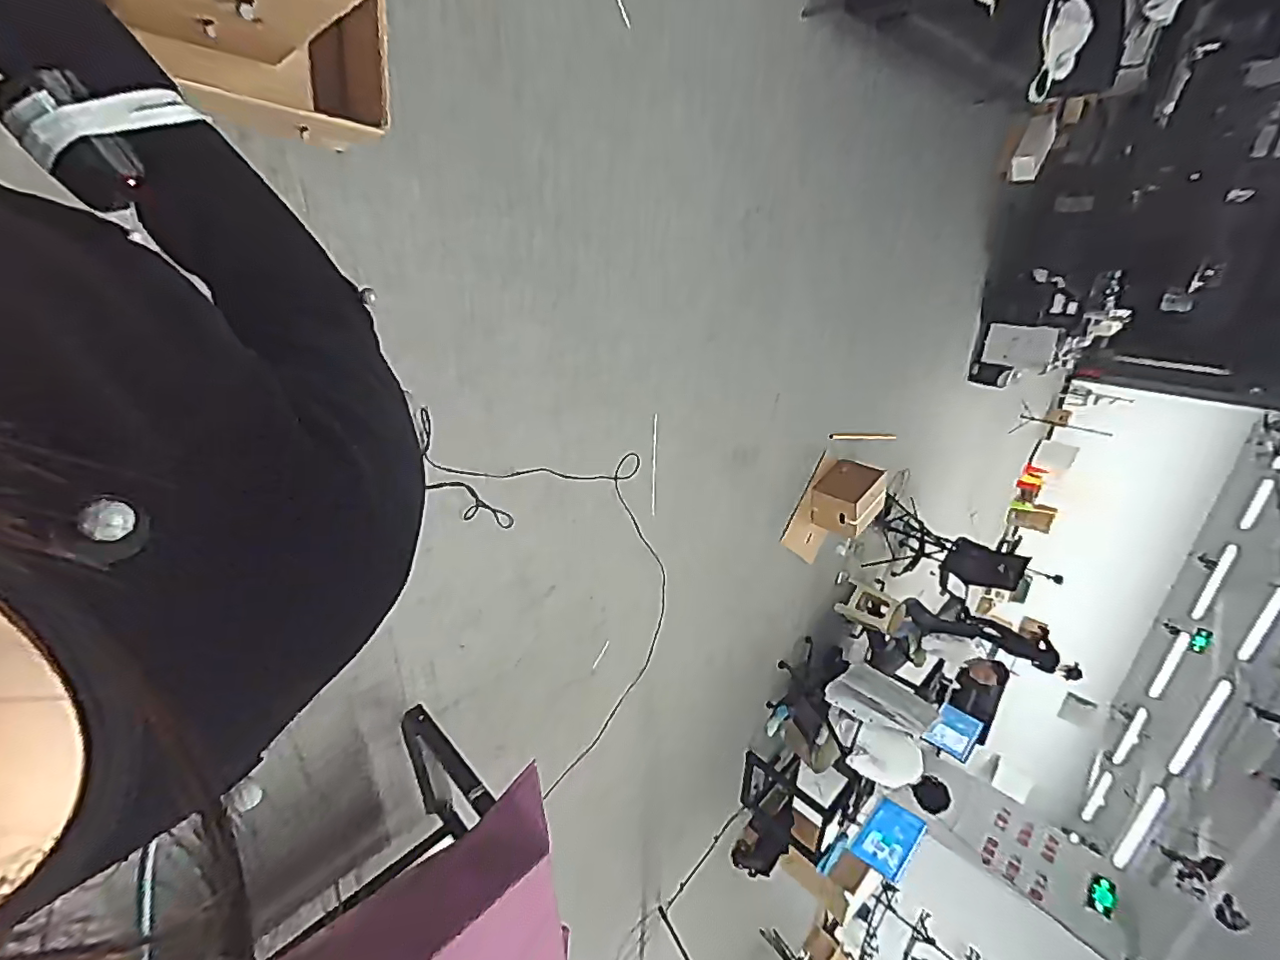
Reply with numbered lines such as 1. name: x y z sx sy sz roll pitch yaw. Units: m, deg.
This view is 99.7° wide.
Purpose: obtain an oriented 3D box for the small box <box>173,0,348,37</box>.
1. small box: -0.408 -0.571 0.525 0.168 0.176 0.179 -17 121 -42
